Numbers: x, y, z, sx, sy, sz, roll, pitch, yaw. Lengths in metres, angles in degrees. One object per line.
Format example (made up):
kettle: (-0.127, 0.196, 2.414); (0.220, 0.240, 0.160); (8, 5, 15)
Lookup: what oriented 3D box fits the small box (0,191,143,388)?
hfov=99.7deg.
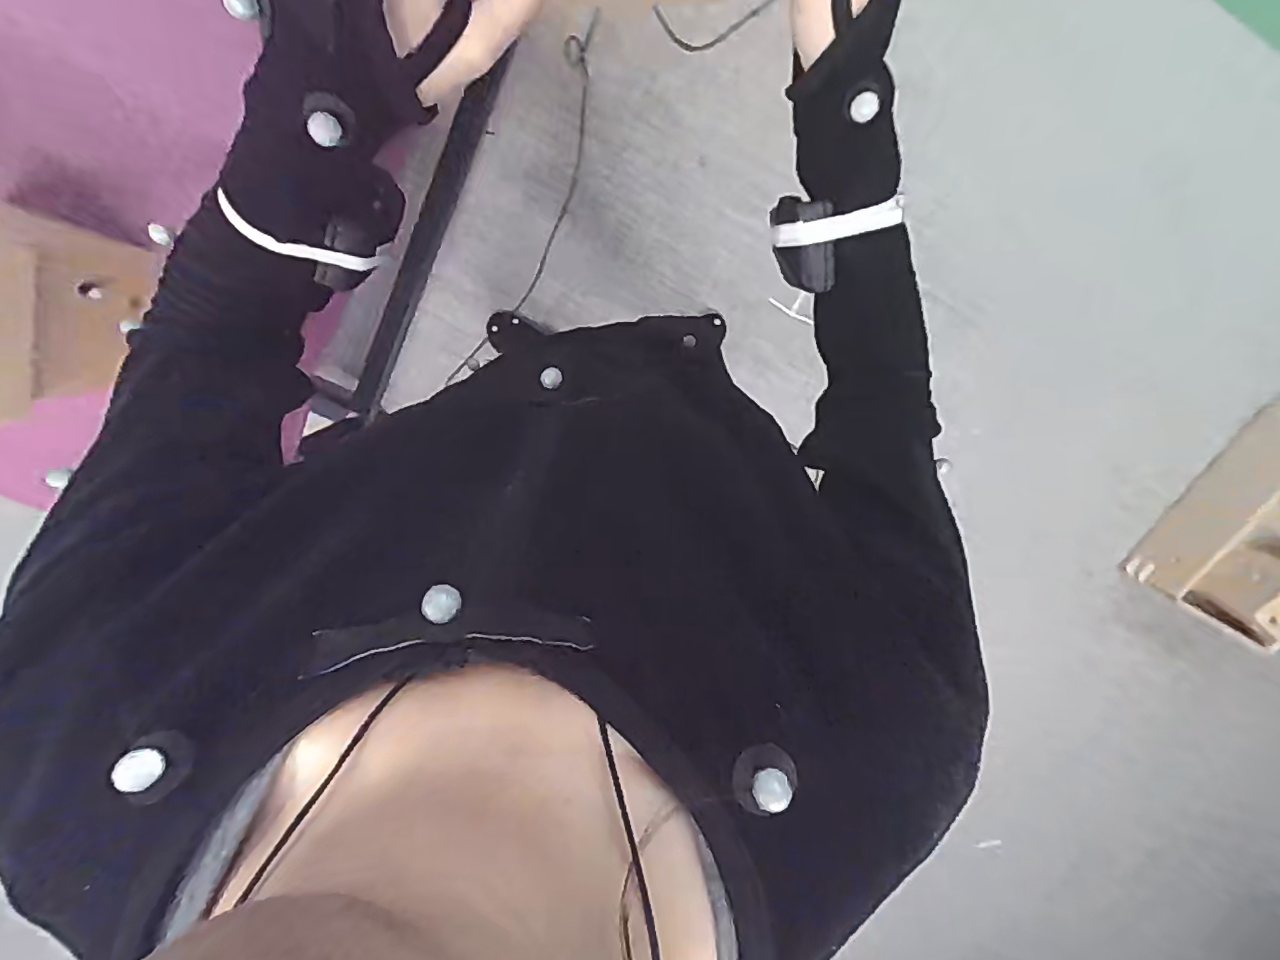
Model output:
small box: (-0.698, -0.216, 0.586); (0.179, 0.176, 0.168); (20, 107, -7)

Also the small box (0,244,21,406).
small box: (-0.672, -0.151, 0.436); (0.168, 0.176, 0.179); (19, 107, -8)
